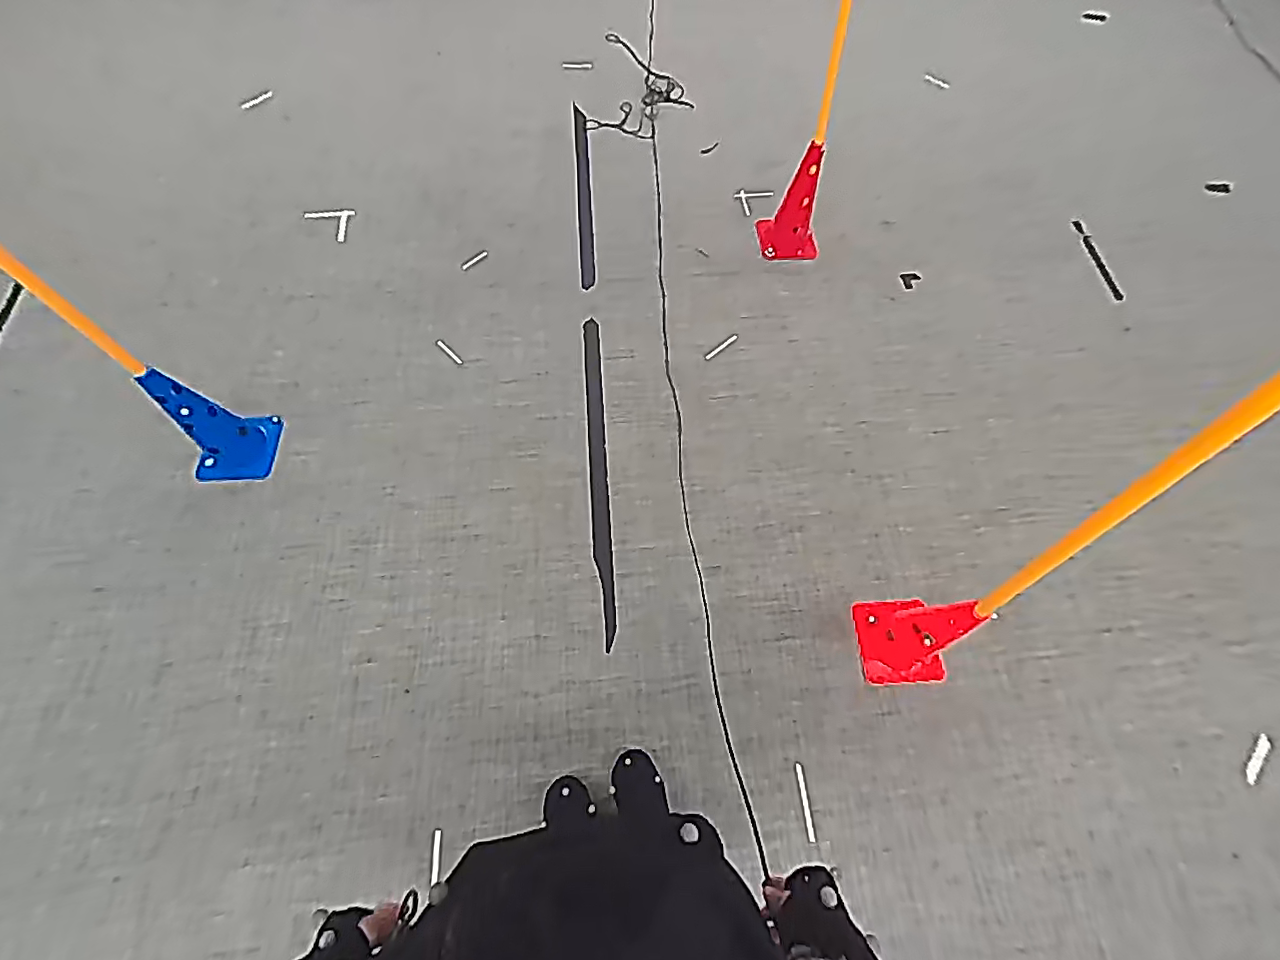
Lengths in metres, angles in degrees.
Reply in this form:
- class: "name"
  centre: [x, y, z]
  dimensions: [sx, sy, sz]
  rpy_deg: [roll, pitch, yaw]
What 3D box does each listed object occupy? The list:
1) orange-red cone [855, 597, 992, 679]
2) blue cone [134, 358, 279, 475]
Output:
- class: "orange-red cone"
  centre: [0.645, 0.316, 1.182]
  dimensions: [0.198, 0.360, 0.199]
  rpy_deg: [-1, 65, -2]
- class: "blue cone"
  centre: [-1.126, -0.170, 1.379]
  dimensions: [0.193, 0.380, 0.192]
  rpy_deg: [-1, 64, -3]
